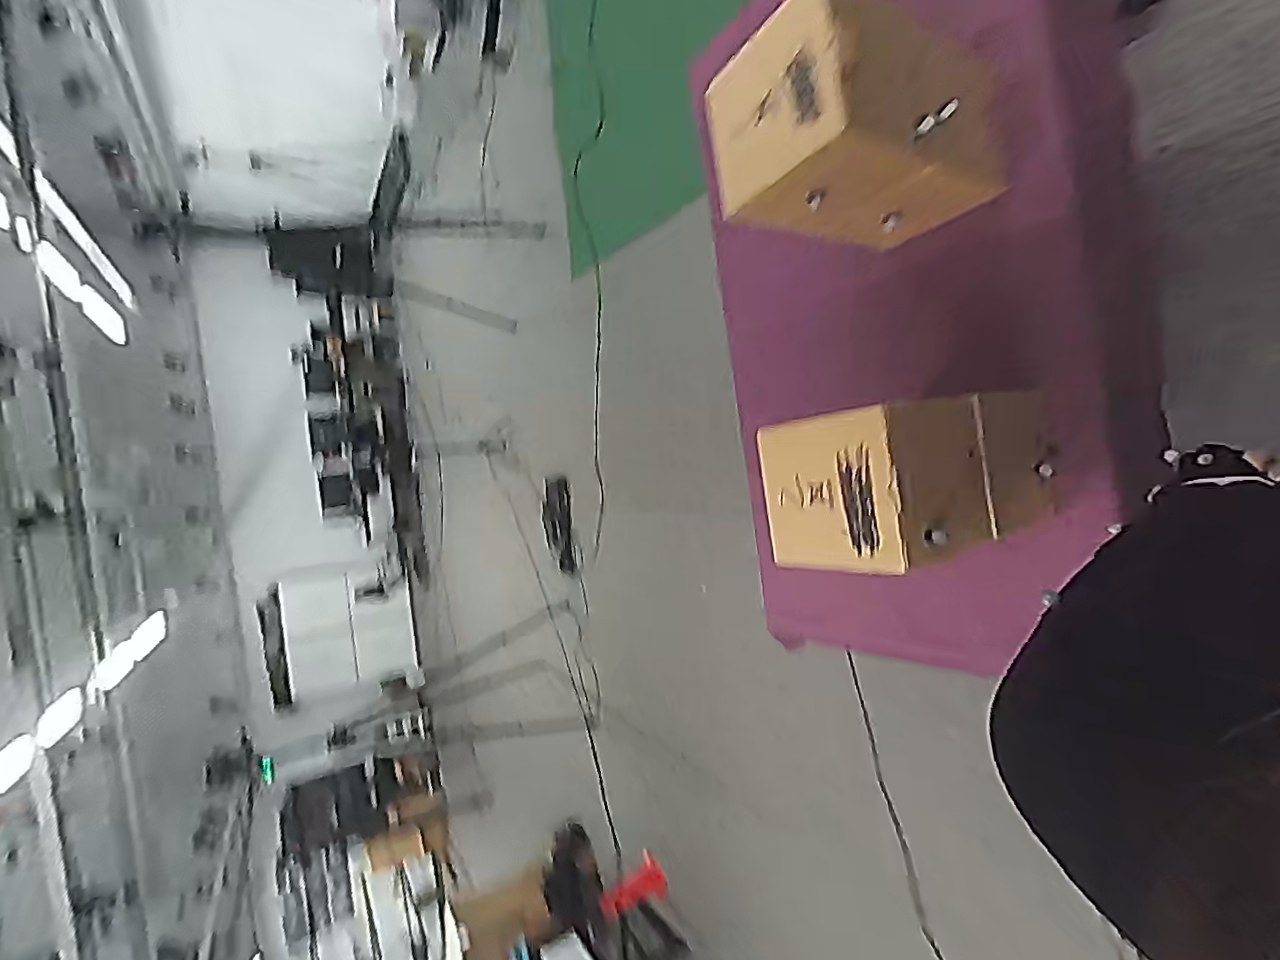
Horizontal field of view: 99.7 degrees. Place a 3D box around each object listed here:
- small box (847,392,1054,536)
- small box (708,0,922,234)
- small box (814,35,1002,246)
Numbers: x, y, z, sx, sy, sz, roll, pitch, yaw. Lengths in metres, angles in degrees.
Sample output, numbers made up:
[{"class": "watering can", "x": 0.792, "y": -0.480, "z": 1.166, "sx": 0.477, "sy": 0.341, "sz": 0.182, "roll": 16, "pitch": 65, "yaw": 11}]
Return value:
[{"class": "small box", "x": 0.412, "y": -0.020, "z": 0.726, "sx": 0.179, "sy": 0.176, "sz": 0.168, "roll": -8, "pitch": 91, "yaw": 57}, {"class": "small box", "x": 0.210, "y": -0.418, "z": 0.645, "sx": 0.179, "sy": 0.176, "sz": 0.168, "roll": -11, "pitch": 88, "yaw": 58}, {"class": "small box", "x": 0.348, "y": -0.436, "z": 0.733, "sx": 0.179, "sy": 0.176, "sz": 0.168, "roll": -10, "pitch": 90, "yaw": 58}]
